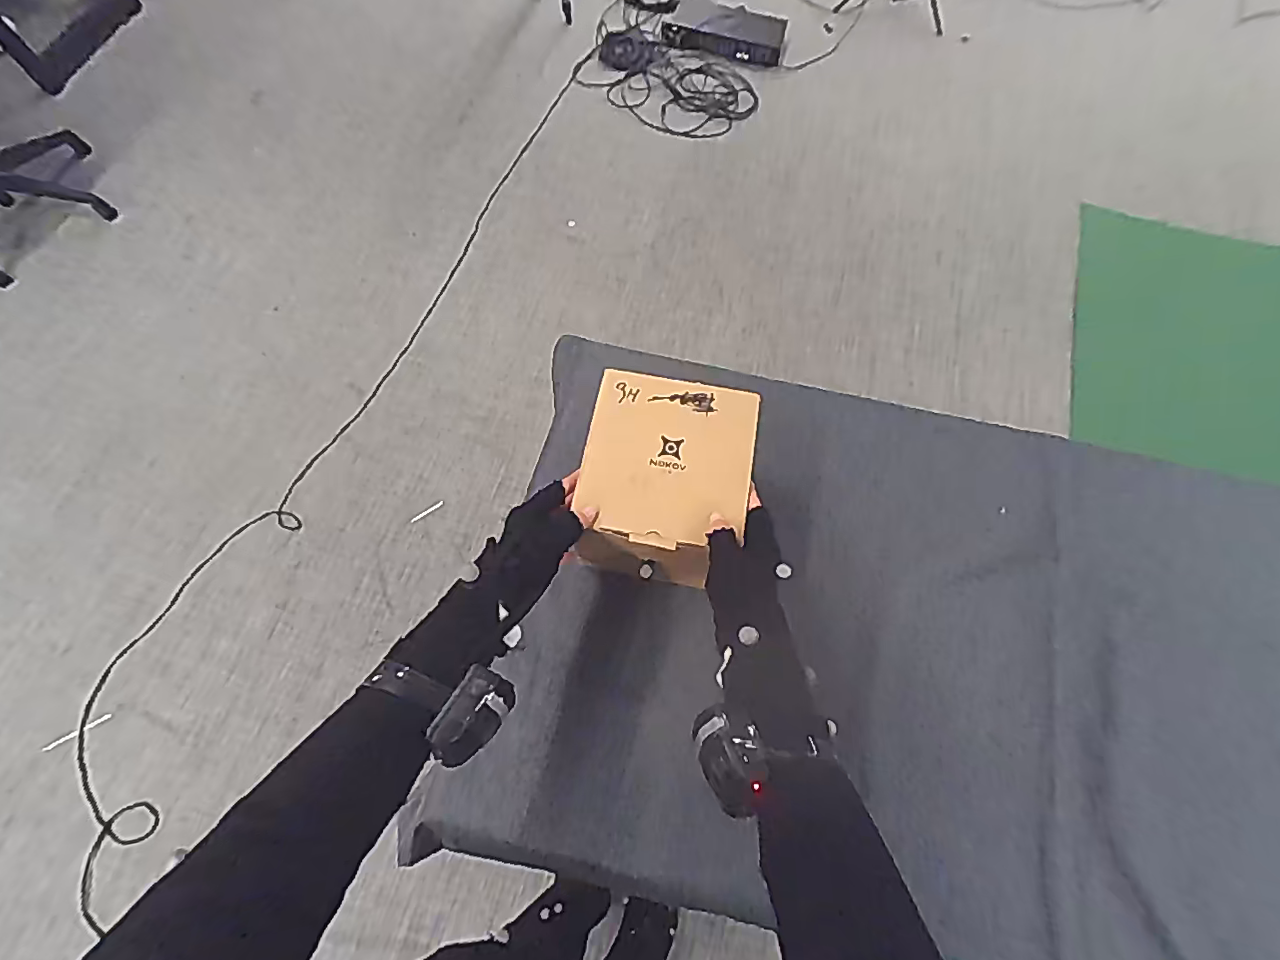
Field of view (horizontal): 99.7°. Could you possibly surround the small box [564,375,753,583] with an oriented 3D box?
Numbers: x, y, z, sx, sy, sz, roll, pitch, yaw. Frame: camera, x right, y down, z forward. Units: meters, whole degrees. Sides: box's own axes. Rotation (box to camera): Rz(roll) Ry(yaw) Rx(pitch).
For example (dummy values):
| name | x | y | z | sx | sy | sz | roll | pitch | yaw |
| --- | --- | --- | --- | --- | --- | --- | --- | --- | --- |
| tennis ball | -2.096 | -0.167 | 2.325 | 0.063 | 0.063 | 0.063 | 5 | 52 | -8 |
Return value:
| name | x | y | z | sx | sy | sz | roll | pitch | yaw |
| --- | --- | --- | --- | --- | --- | --- | --- | --- | --- |
| small box | 0.023 | 0.009 | 0.612 | 0.168 | 0.176 | 0.179 | 10 | 69 | 4 |
